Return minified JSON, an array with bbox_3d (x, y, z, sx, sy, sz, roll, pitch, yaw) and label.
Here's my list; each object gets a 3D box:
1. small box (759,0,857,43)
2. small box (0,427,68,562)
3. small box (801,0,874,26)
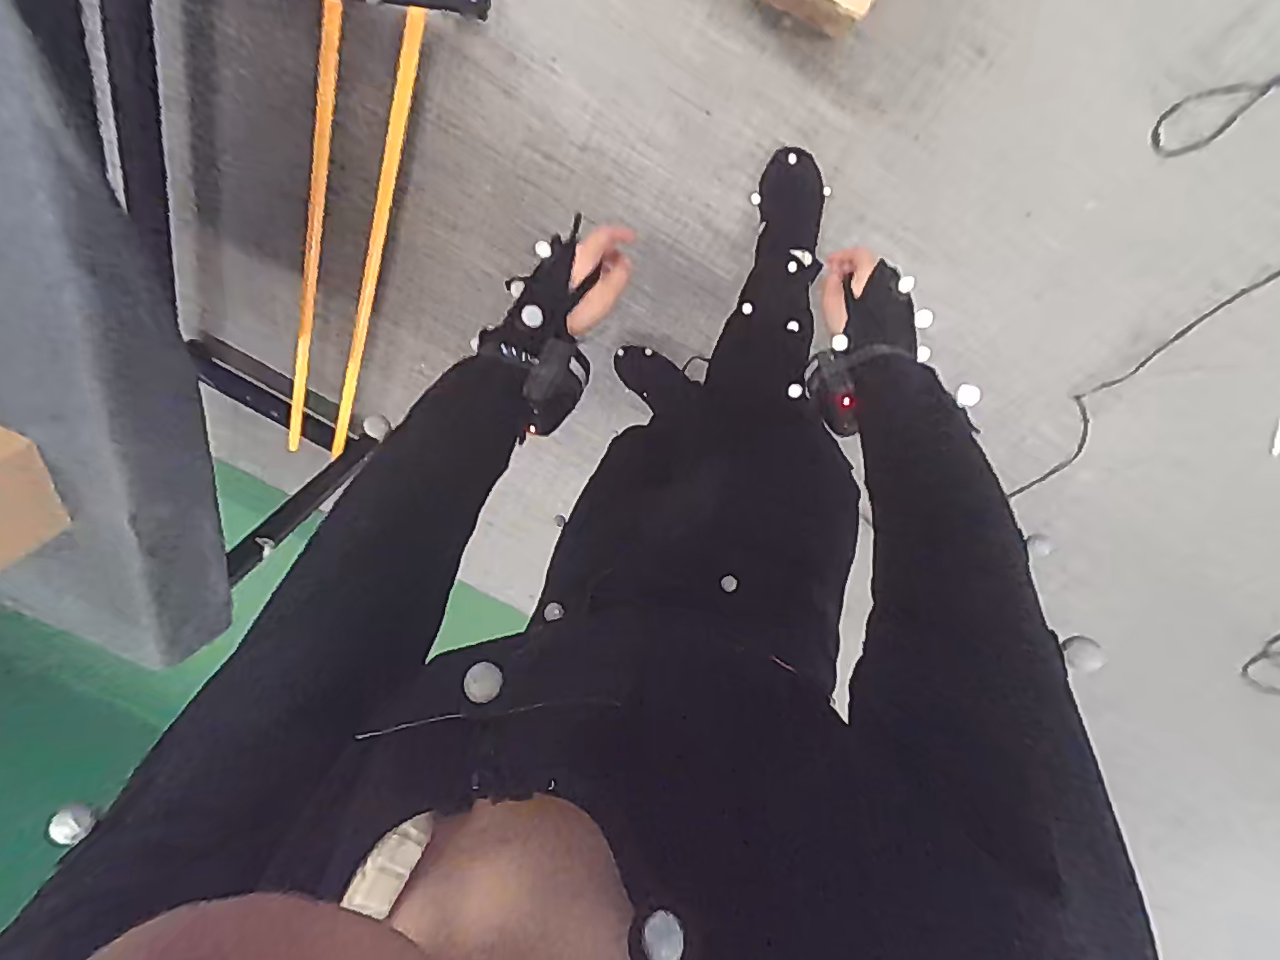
[{"bbox_3d":[0.246,-0.709,0.702,0.168,0.176,0.179,26,130,-3],"label":"small box"},{"bbox_3d":[-0.883,0.012,0.664,0.168,0.176,0.179,28,130,-4],"label":"small box"},{"bbox_3d":[0.214,-0.618,0.568,0.168,0.176,0.179,26,128,-4],"label":"small box"}]
